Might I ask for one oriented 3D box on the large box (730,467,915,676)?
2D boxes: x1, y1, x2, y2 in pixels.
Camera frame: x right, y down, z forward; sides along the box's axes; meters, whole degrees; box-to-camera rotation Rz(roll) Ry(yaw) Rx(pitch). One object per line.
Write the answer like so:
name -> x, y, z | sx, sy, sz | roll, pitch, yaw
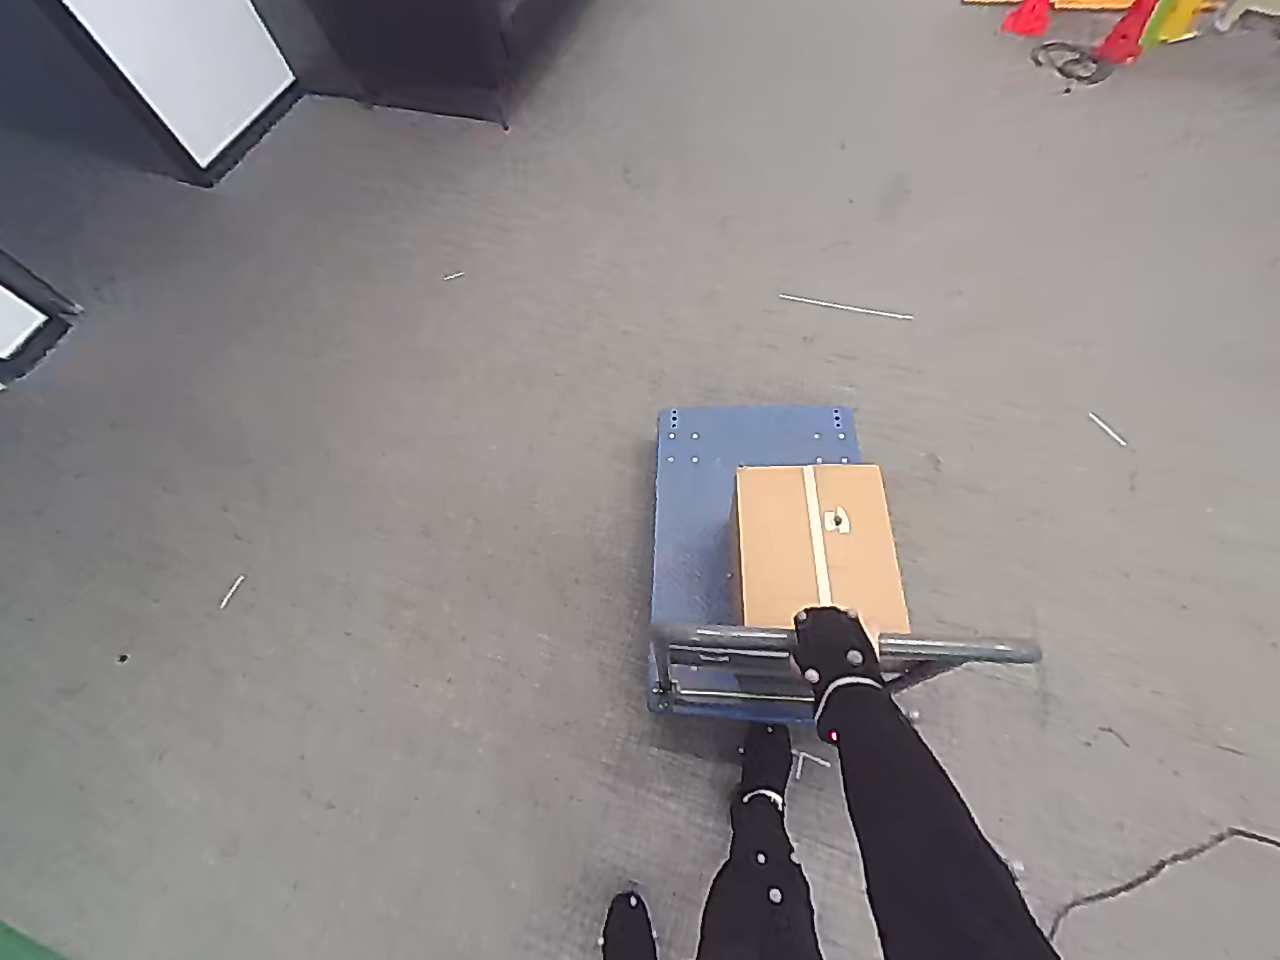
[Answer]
large box -> 0.378, 0.220, 1.240 | 0.320, 0.320, 0.408 | 0, 62, 4
